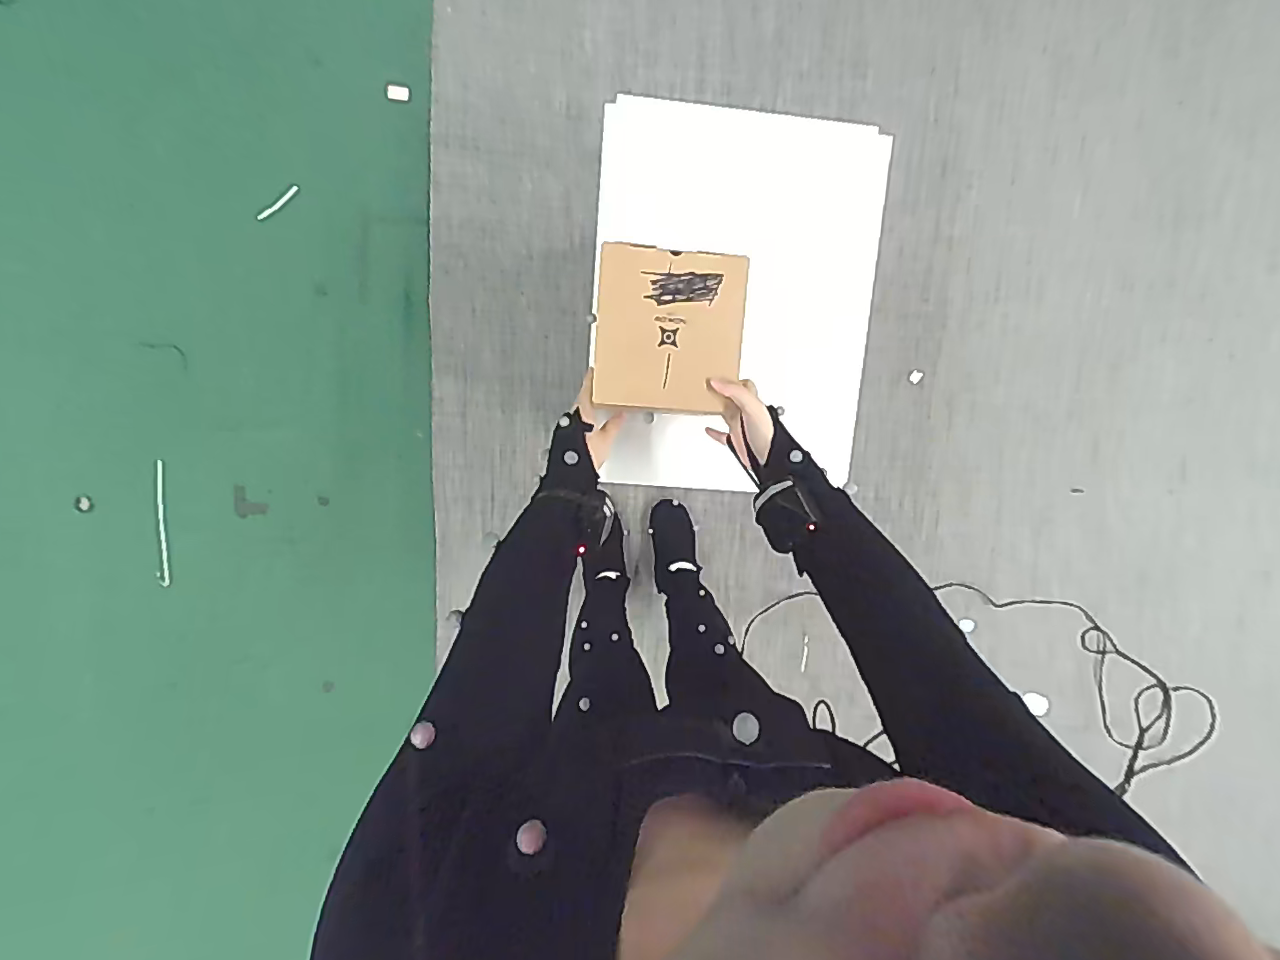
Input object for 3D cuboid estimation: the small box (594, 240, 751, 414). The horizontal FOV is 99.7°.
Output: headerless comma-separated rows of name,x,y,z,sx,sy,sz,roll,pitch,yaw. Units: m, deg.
small box,0.029,-0.177,0.676,0.168,0.176,0.179,4,97,-4
